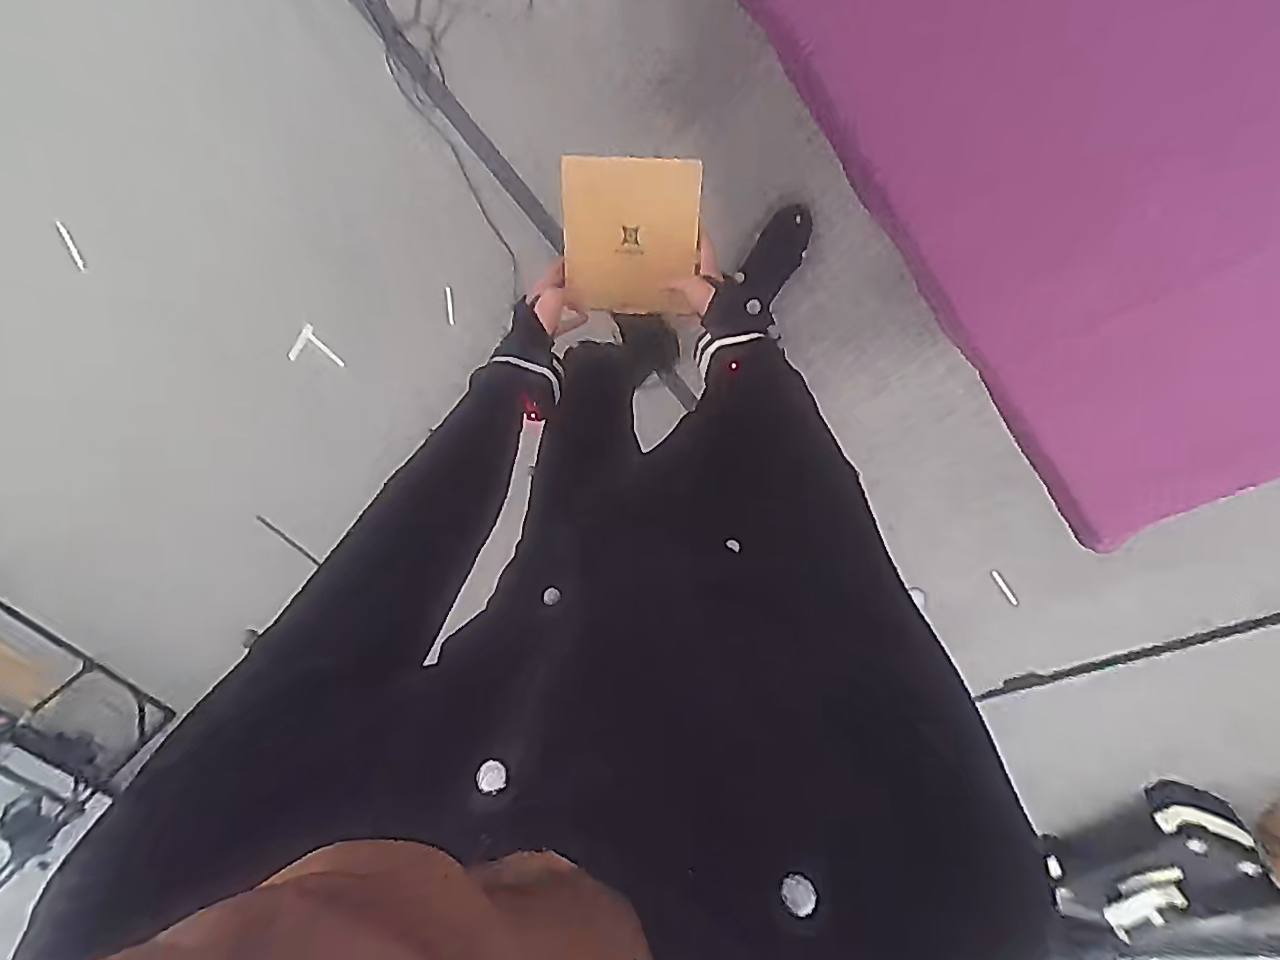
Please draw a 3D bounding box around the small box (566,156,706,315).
[{"bbox_3d":[-0.005,-0.333,0.733,0.168,0.176,0.179,3,121,2],"label":"small box"}]
